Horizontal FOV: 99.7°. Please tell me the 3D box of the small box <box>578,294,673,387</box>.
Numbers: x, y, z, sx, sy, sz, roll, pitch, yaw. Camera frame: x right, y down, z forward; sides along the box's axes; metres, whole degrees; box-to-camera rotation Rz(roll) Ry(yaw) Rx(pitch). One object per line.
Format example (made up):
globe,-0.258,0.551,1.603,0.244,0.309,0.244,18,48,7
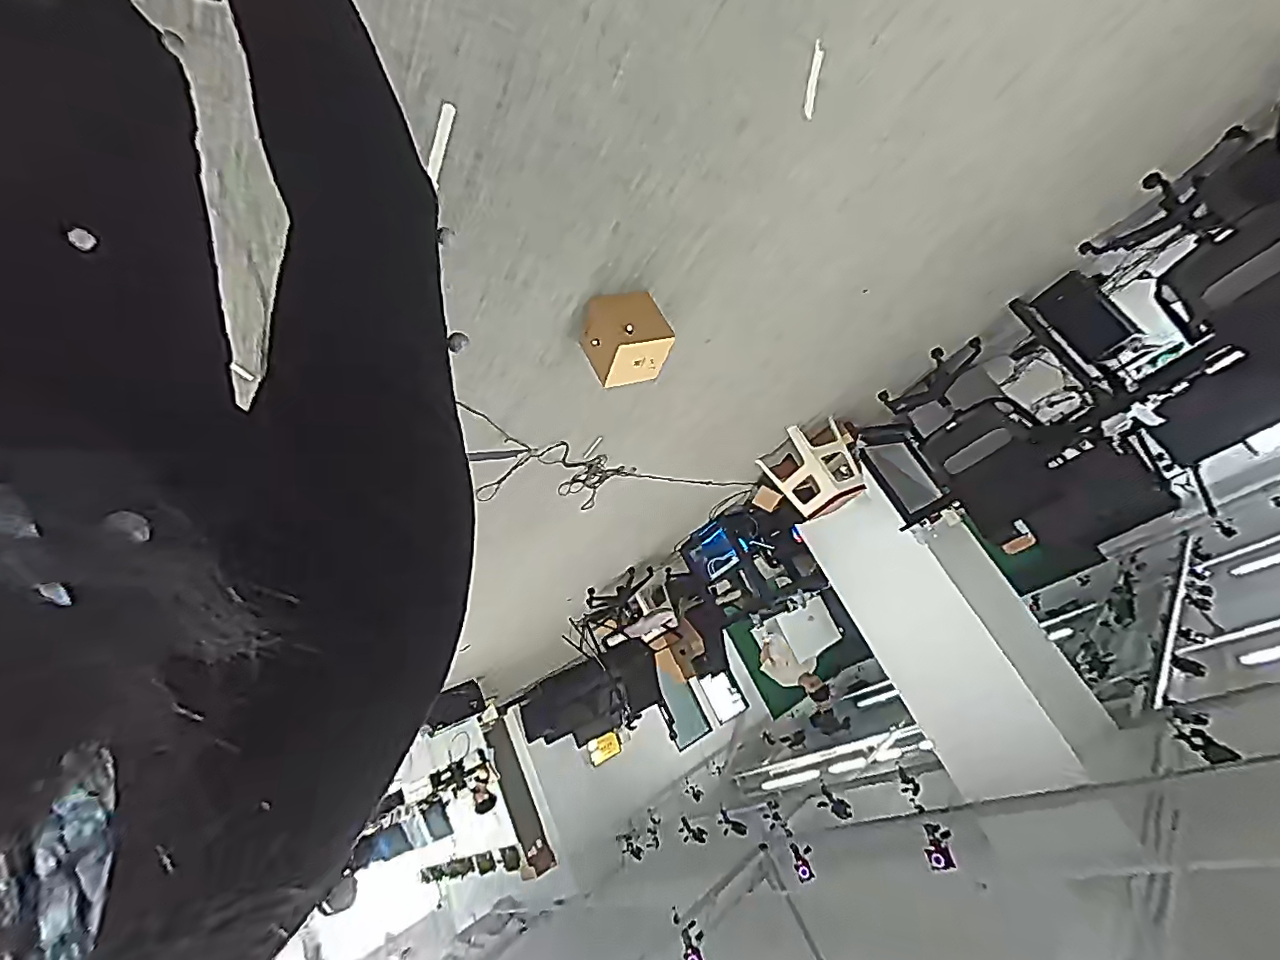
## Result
small box,-0.046,-0.379,1.456,0.179,0.176,0.168,-17,157,-29
